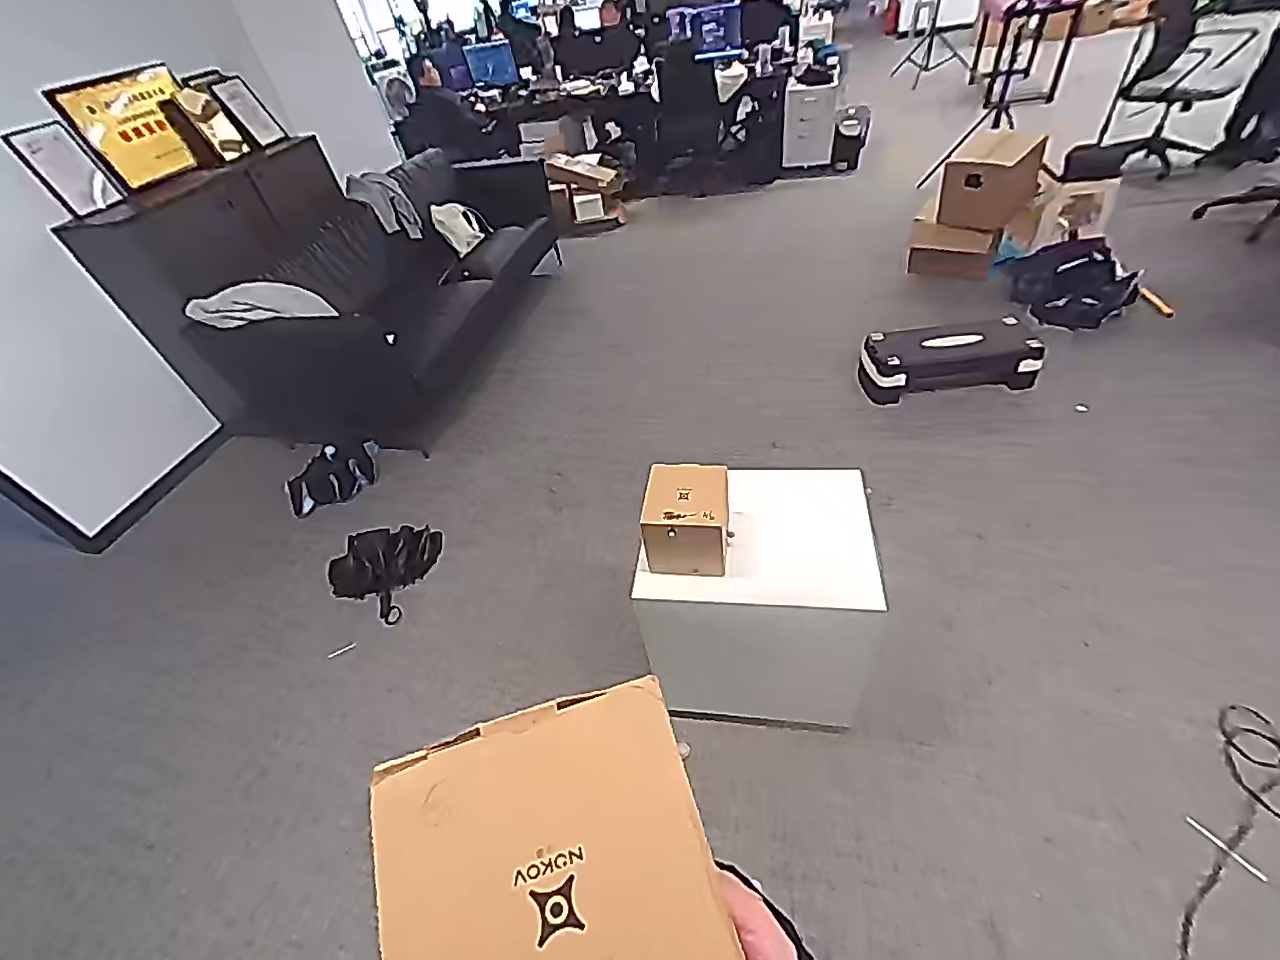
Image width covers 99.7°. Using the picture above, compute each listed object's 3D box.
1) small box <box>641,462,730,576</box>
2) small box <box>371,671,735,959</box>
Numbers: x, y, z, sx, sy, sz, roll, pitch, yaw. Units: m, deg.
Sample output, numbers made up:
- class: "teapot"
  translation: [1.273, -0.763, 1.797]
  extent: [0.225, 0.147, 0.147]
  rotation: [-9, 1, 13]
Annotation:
- class: "small box"
  translation: [0.106, 0.083, 1.170]
  extent: [0.168, 0.176, 0.179]
  rotation: [2, 44, 13]
- class: "small box"
  translation: [-0.051, 0.244, 0.343]
  extent: [0.168, 0.176, 0.179]
  rotation: [-14, 63, -10]
